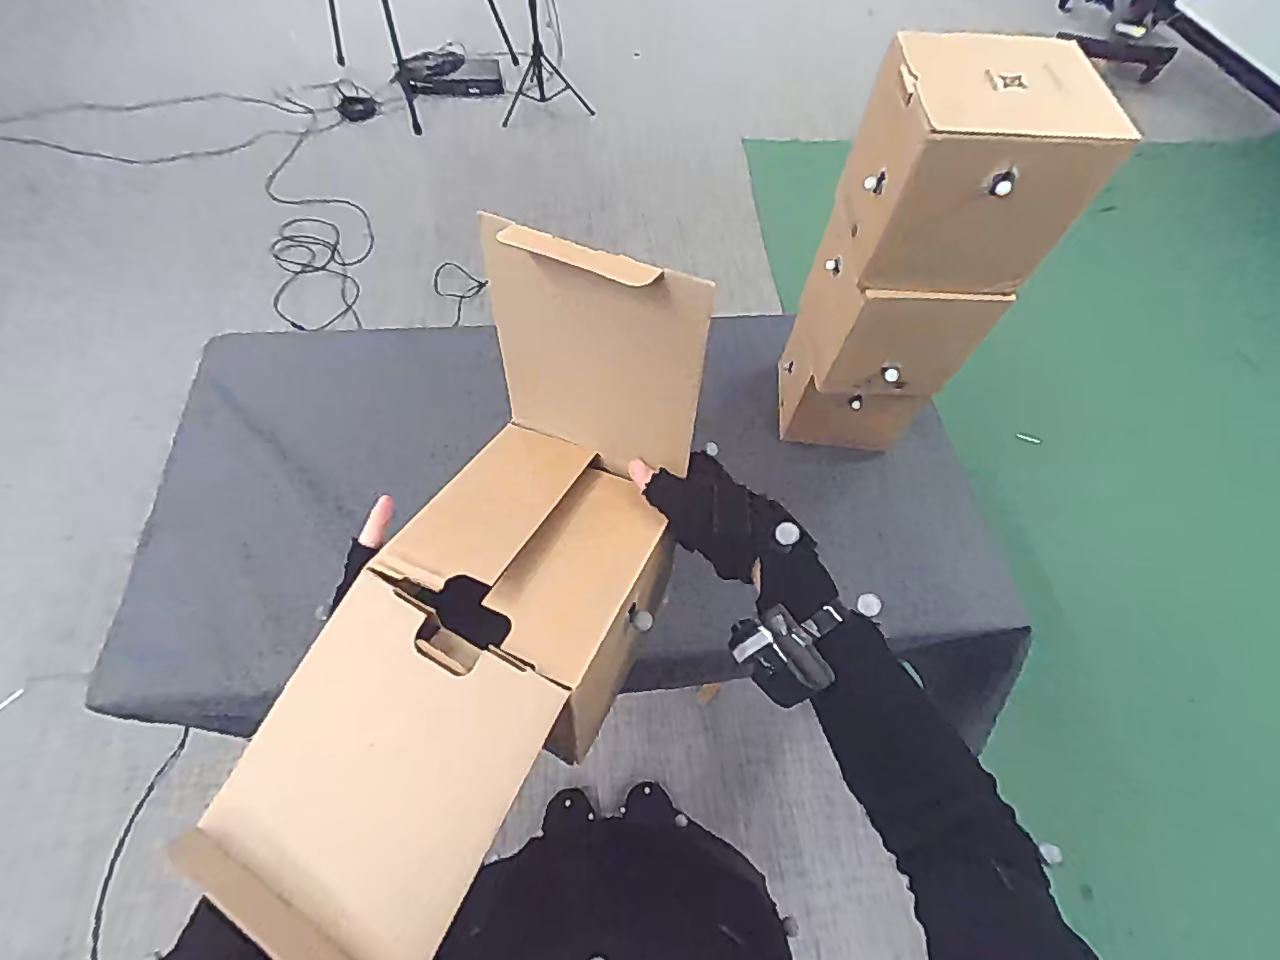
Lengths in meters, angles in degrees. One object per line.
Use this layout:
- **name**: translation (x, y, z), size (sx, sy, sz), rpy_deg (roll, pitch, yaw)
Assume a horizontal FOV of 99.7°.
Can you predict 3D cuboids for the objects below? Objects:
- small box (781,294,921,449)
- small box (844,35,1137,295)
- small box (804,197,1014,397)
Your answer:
- **small box**: translation (0.322, -0.163, 0.839), size (0.179, 0.176, 0.168), rpy_deg (7, 61, 1)
- **small box**: translation (0.320, -0.309, 0.546), size (0.179, 0.176, 0.168), rpy_deg (3, 62, 0)
- **small box**: translation (0.319, -0.227, 0.687), size (0.168, 0.176, 0.179), rpy_deg (1, 62, -1)
